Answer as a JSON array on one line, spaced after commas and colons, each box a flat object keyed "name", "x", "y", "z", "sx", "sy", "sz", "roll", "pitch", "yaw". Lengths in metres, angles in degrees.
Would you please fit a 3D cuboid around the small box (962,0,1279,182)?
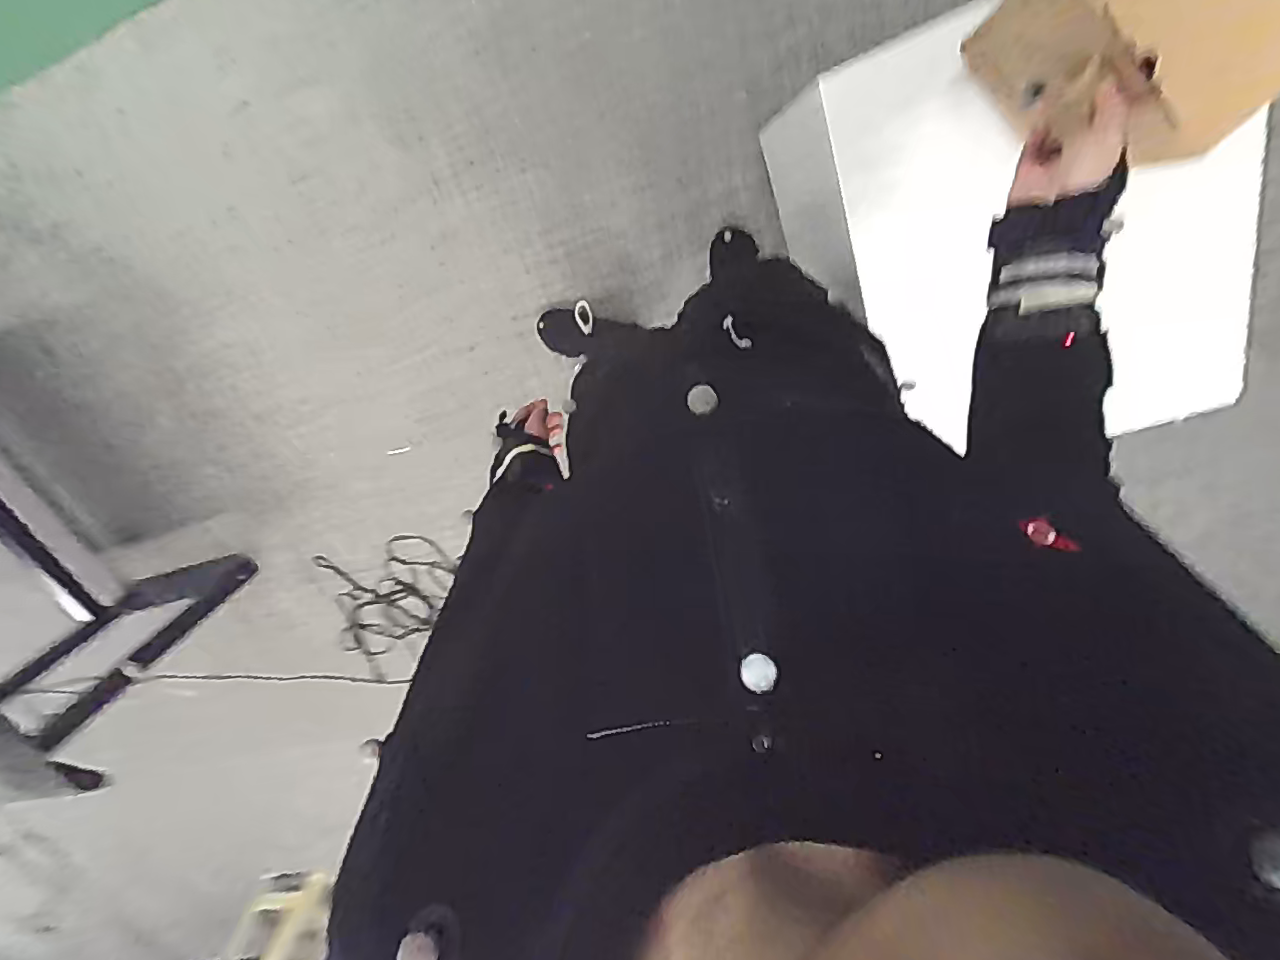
[{"name": "small box", "x": 0.403, "y": -0.366, "z": 0.420, "sx": 0.168, "sy": 0.176, "sz": 0.179, "roll": 39, "pitch": 111, "yaw": -14}]
